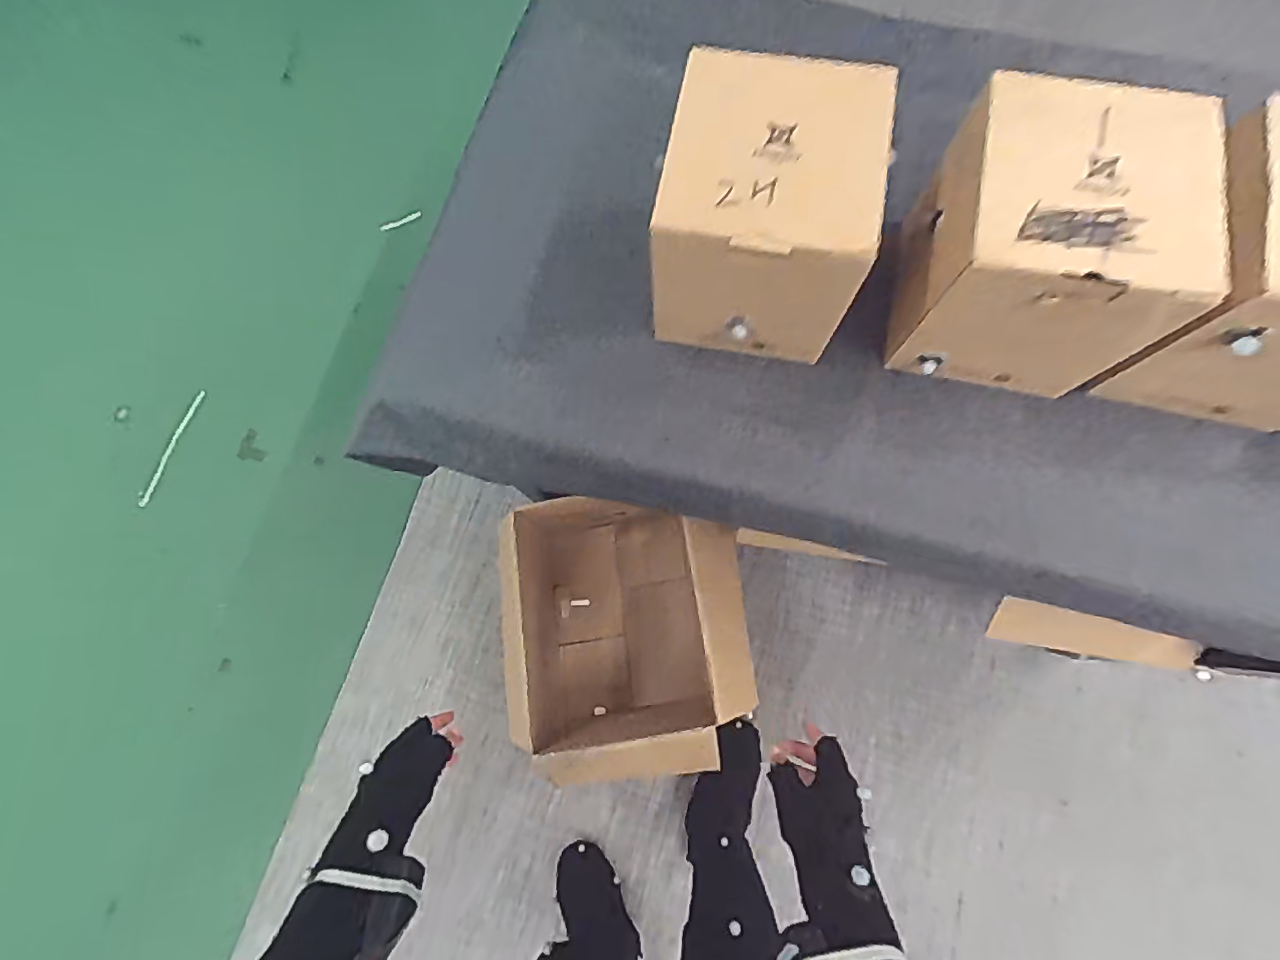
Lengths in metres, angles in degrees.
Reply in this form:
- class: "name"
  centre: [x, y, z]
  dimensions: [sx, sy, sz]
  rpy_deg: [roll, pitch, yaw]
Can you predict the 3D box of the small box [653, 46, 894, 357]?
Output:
- class: "small box"
  centre: [0.108, -0.236, 0.489]
  dimensions: [0.168, 0.176, 0.179]
  rpy_deg: [10, 77, 6]
